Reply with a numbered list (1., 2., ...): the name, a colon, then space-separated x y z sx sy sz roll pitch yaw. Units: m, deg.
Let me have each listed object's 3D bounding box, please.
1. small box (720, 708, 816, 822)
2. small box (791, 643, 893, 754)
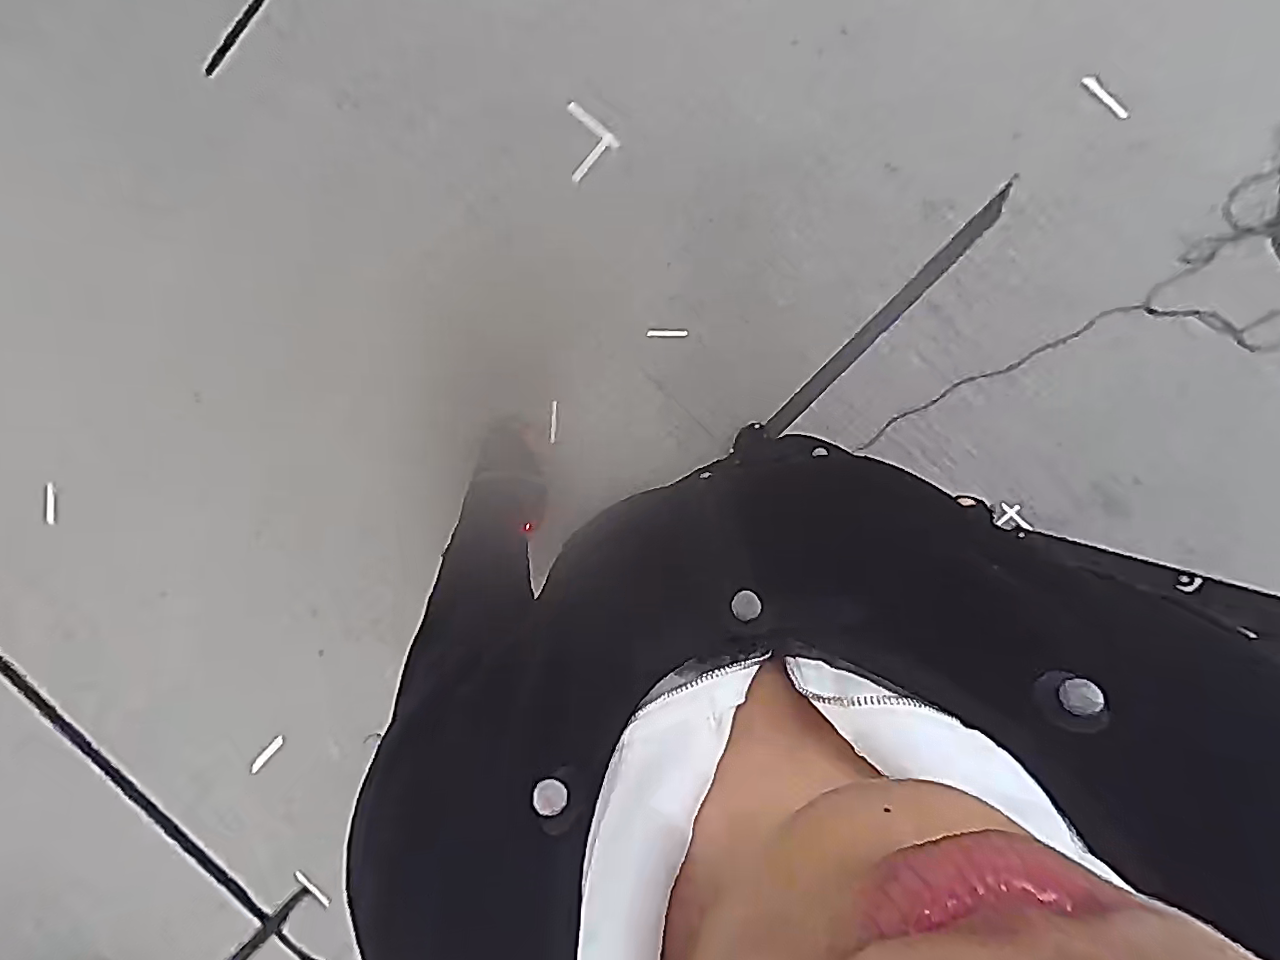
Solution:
1. small box: 0.335 0.753 1.449 0.179 0.176 0.168 43 96 0
2. small box: 0.518 0.566 1.422 0.168 0.176 0.179 43 96 0
